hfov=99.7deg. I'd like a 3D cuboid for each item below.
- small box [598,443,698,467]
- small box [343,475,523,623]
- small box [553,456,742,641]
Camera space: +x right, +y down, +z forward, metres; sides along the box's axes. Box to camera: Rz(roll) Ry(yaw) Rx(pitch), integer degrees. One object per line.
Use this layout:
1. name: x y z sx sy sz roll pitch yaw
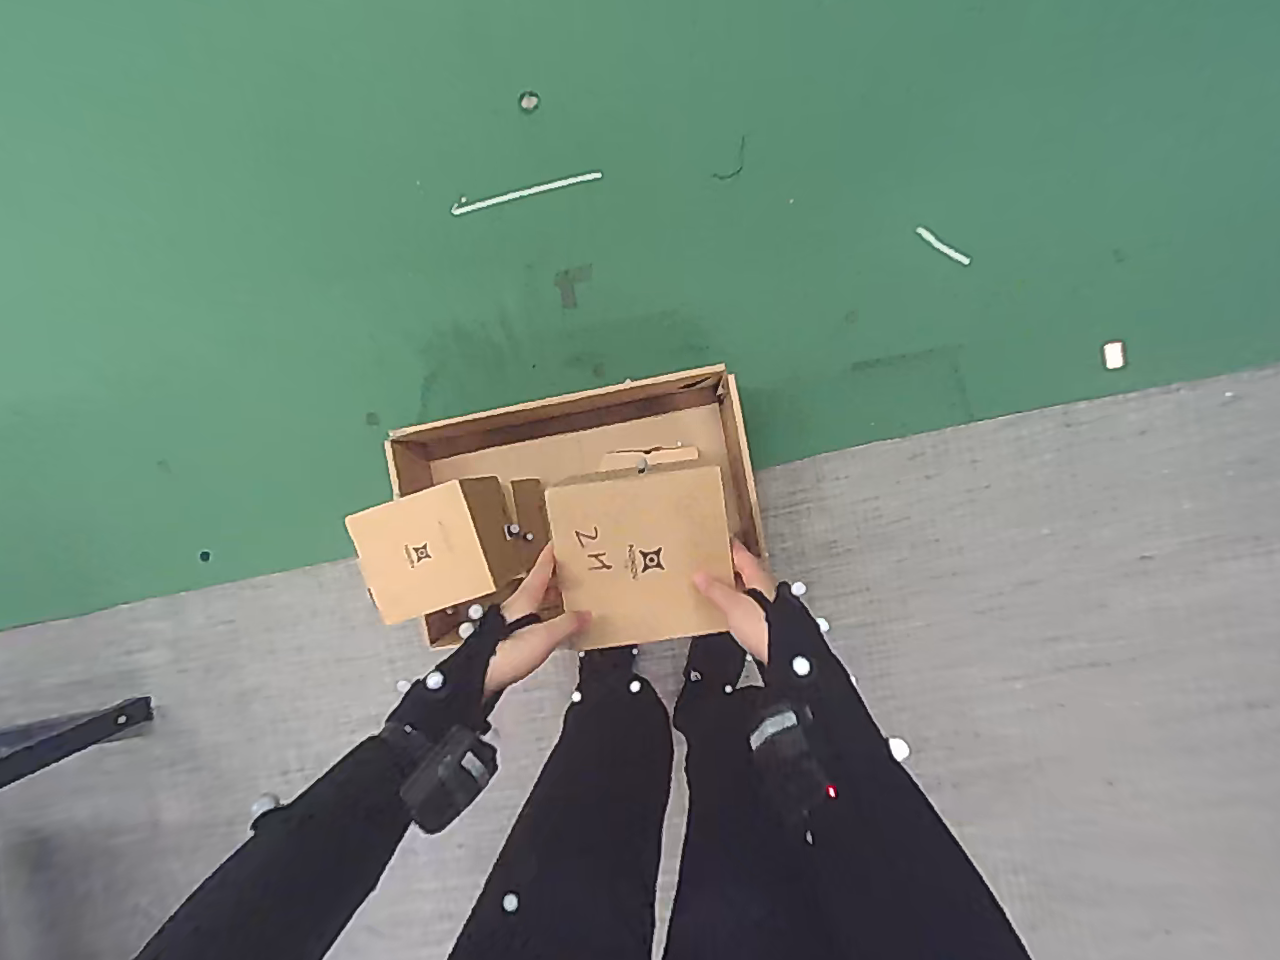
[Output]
1. small box: 0.021 0.028 0.957 0.168 0.176 0.179 -3 93 5
2. small box: -0.299 0.094 0.816 0.179 0.176 0.168 -18 91 3
3. small box: 0.006 0.065 0.617 0.179 0.176 0.168 -7 95 0
